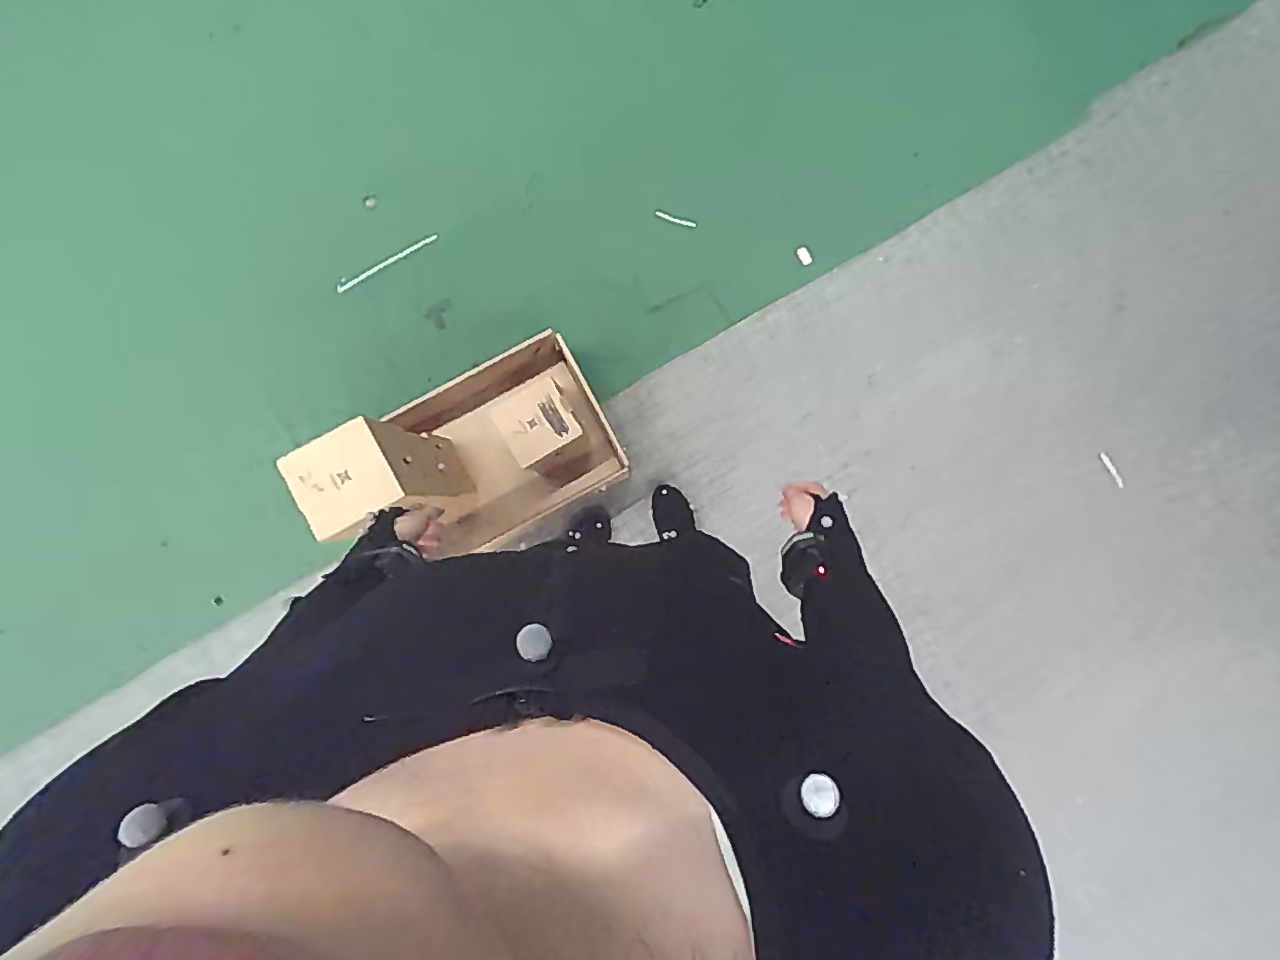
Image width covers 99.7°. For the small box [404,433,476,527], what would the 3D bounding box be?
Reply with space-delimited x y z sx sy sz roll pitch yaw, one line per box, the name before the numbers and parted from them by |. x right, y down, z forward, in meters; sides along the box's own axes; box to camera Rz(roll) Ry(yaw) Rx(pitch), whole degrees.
small box | -0.540 0.000 1.363 0.168 0.176 0.179 -30 90 -2

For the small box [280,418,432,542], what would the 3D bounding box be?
small box | -0.524 0.000 1.034 0.179 0.176 0.168 -29 89 -1

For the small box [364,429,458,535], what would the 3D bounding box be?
small box | -0.537 0.007 1.199 0.179 0.176 0.168 -29 90 -3
